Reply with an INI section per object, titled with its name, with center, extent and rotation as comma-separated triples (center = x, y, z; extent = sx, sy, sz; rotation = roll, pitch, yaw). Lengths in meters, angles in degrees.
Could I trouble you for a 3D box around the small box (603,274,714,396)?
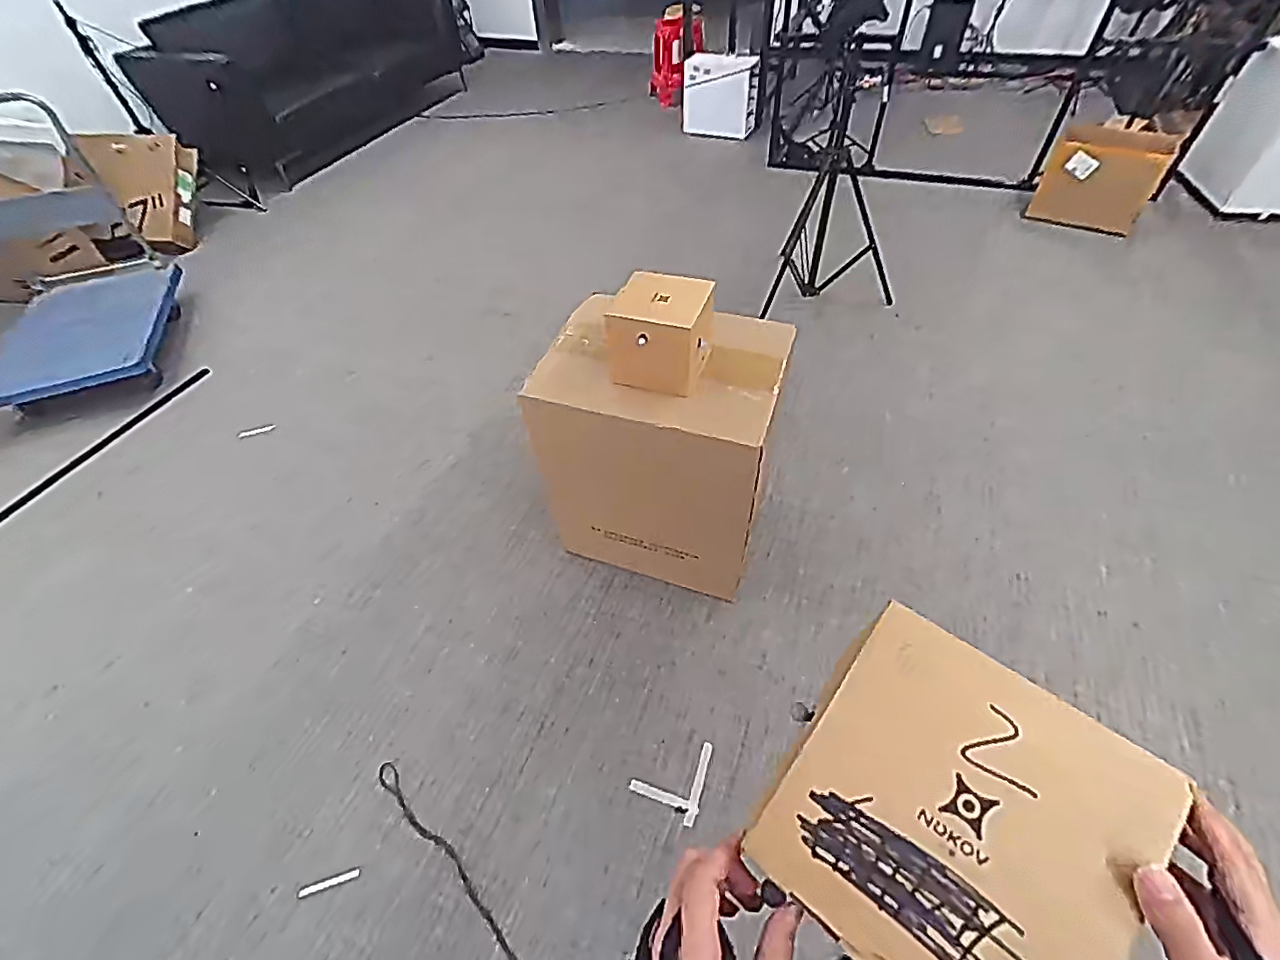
[small box]
center = 0.043, -0.294, 1.108
extent = 0.179, 0.176, 0.168
rotation = 14, 53, 16
